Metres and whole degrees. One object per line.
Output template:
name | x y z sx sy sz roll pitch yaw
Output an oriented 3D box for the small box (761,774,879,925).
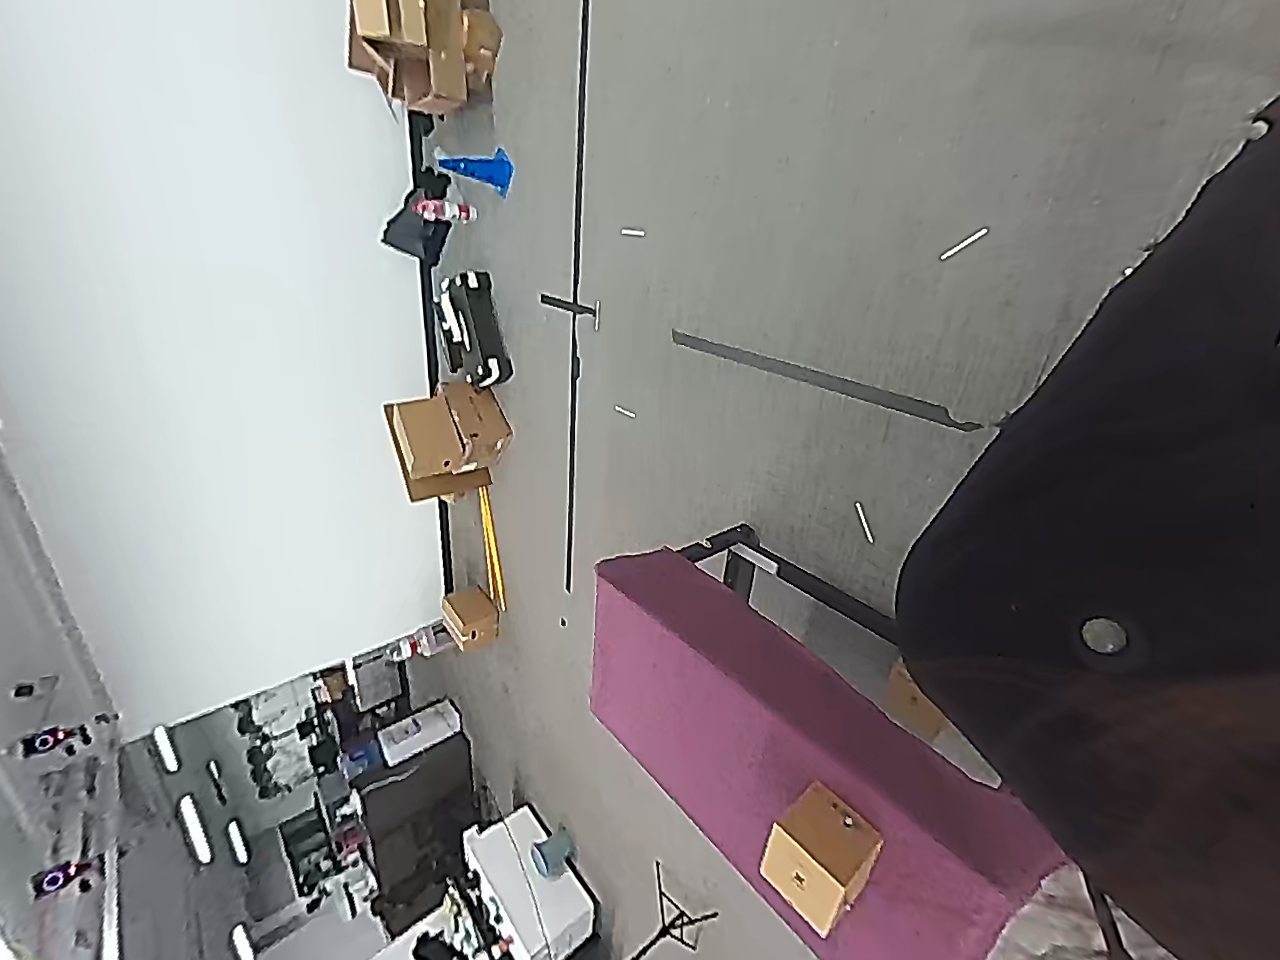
small box | 0.393 0.798 1.182 0.168 0.176 0.179 31 125 41
